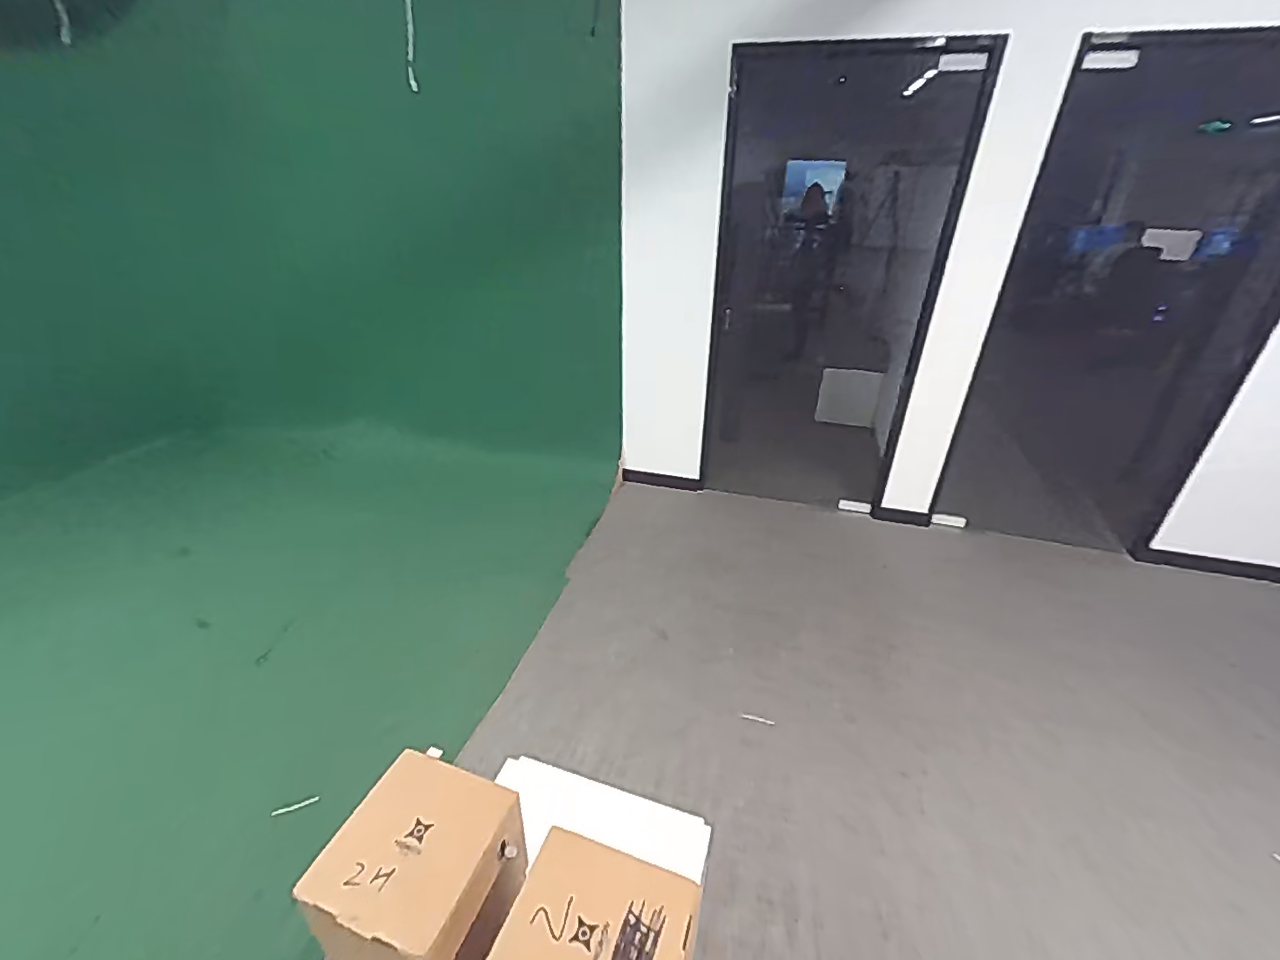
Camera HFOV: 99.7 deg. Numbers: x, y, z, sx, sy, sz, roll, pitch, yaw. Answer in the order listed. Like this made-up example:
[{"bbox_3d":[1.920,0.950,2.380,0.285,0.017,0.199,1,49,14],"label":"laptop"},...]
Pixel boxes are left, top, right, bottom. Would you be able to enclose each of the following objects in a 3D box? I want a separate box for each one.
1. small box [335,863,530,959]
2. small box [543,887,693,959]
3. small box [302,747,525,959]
[{"bbox_3d":[-0.258,0.611,0.718,0.168,0.176,0.179,11,31,16],"label":"small box"},{"bbox_3d":[-0.042,0.654,0.650,0.168,0.176,0.179,10,31,18],"label":"small box"},{"bbox_3d":[-0.248,0.466,0.640,0.168,0.176,0.179,11,31,16],"label":"small box"}]
